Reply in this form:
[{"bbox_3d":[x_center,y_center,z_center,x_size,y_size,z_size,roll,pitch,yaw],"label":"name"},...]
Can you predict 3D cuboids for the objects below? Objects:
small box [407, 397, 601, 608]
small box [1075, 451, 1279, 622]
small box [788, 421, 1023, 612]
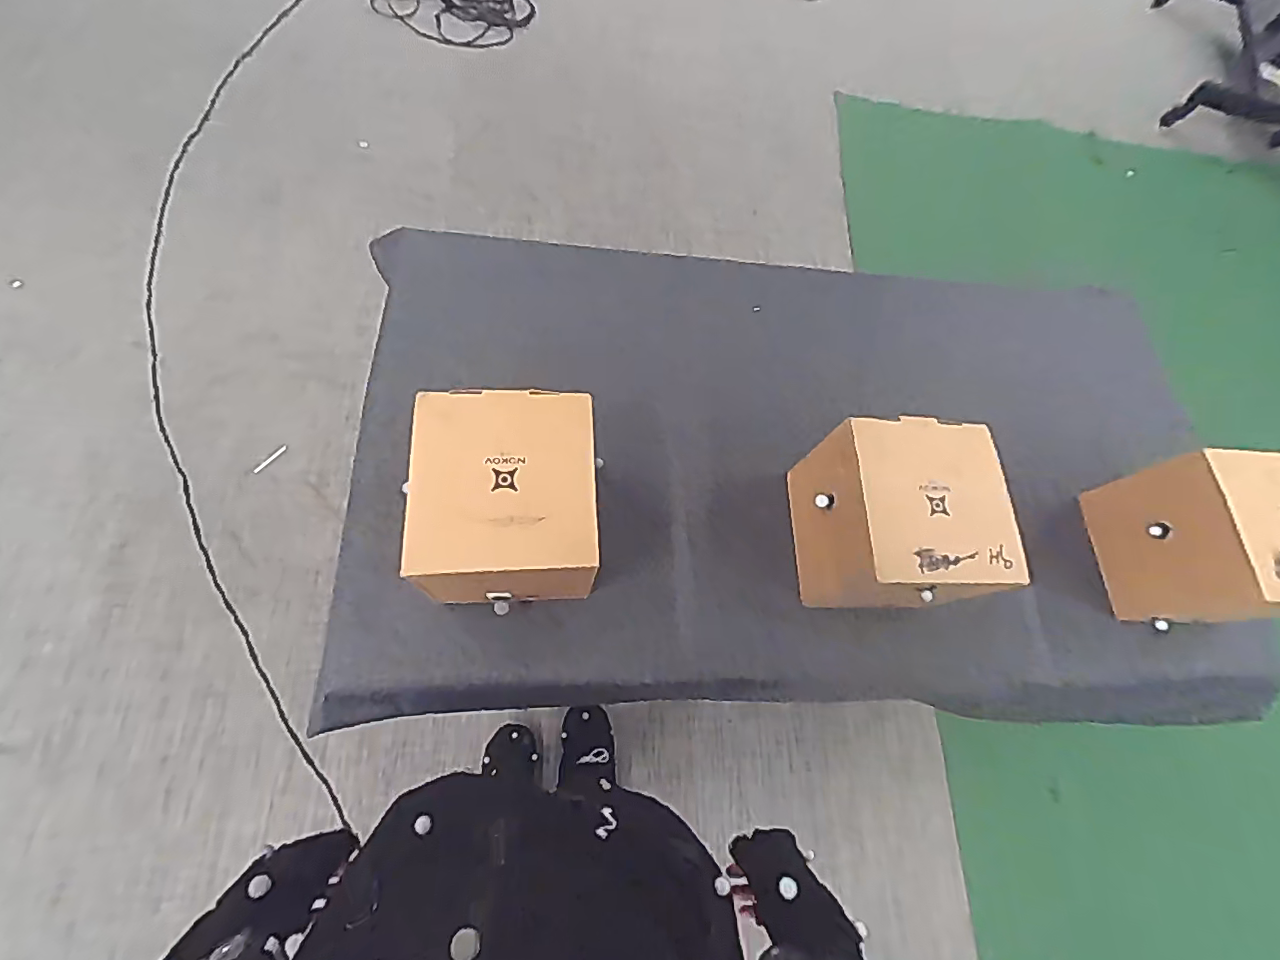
[{"bbox_3d":[-0.132,0.030,0.567,0.168,0.176,0.179,-2,69,-9],"label":"small box"},{"bbox_3d":[0.708,0.080,0.679,0.168,0.176,0.179,3,67,-7],"label":"small box"},{"bbox_3d":[0.285,0.050,0.627,0.168,0.176,0.179,2,68,-8],"label":"small box"}]
